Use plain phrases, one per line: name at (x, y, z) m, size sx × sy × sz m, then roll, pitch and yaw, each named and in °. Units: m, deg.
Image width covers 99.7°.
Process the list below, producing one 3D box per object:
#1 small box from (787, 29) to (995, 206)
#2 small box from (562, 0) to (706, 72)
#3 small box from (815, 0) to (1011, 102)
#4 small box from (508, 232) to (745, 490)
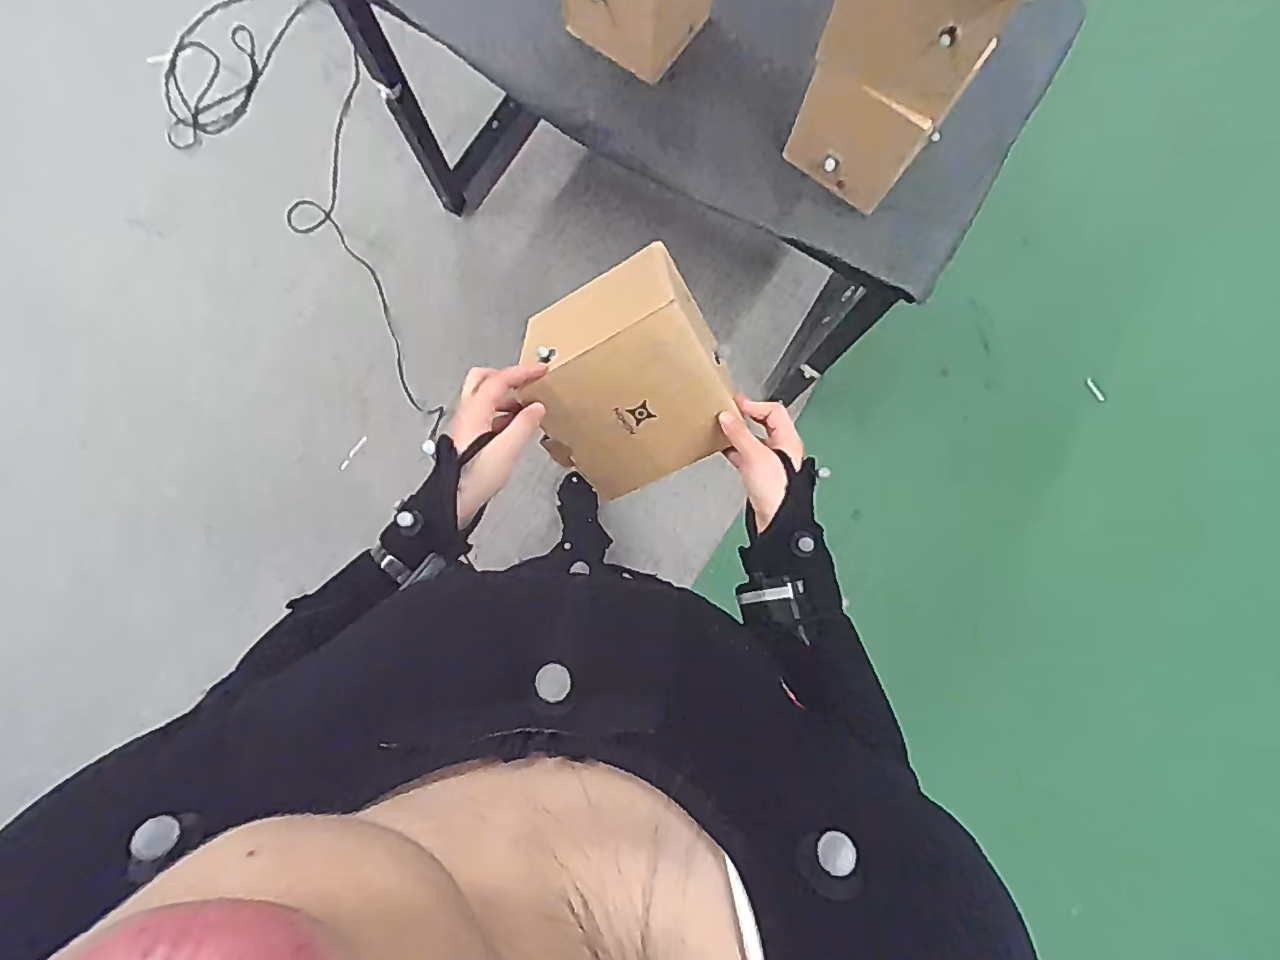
small box at (0.332, -0.536, 0.755) m, size 0.168 × 0.176 × 0.179 m, roll 38°, pitch 82°, yaw 5°
small box at (-0.008, -0.752, 0.784) m, size 0.179 × 0.176 × 0.168 m, roll 34°, pitch 82°, yaw 5°
small box at (0.327, -0.569, 0.596) m, size 0.179 × 0.176 × 0.168 m, roll 30°, pitch 80°, yaw 5°
small box at (-0.013, -0.126, 0.570) m, size 0.179 × 0.168 × 0.176 m, roll -25°, pitch 38°, yaw 18°
